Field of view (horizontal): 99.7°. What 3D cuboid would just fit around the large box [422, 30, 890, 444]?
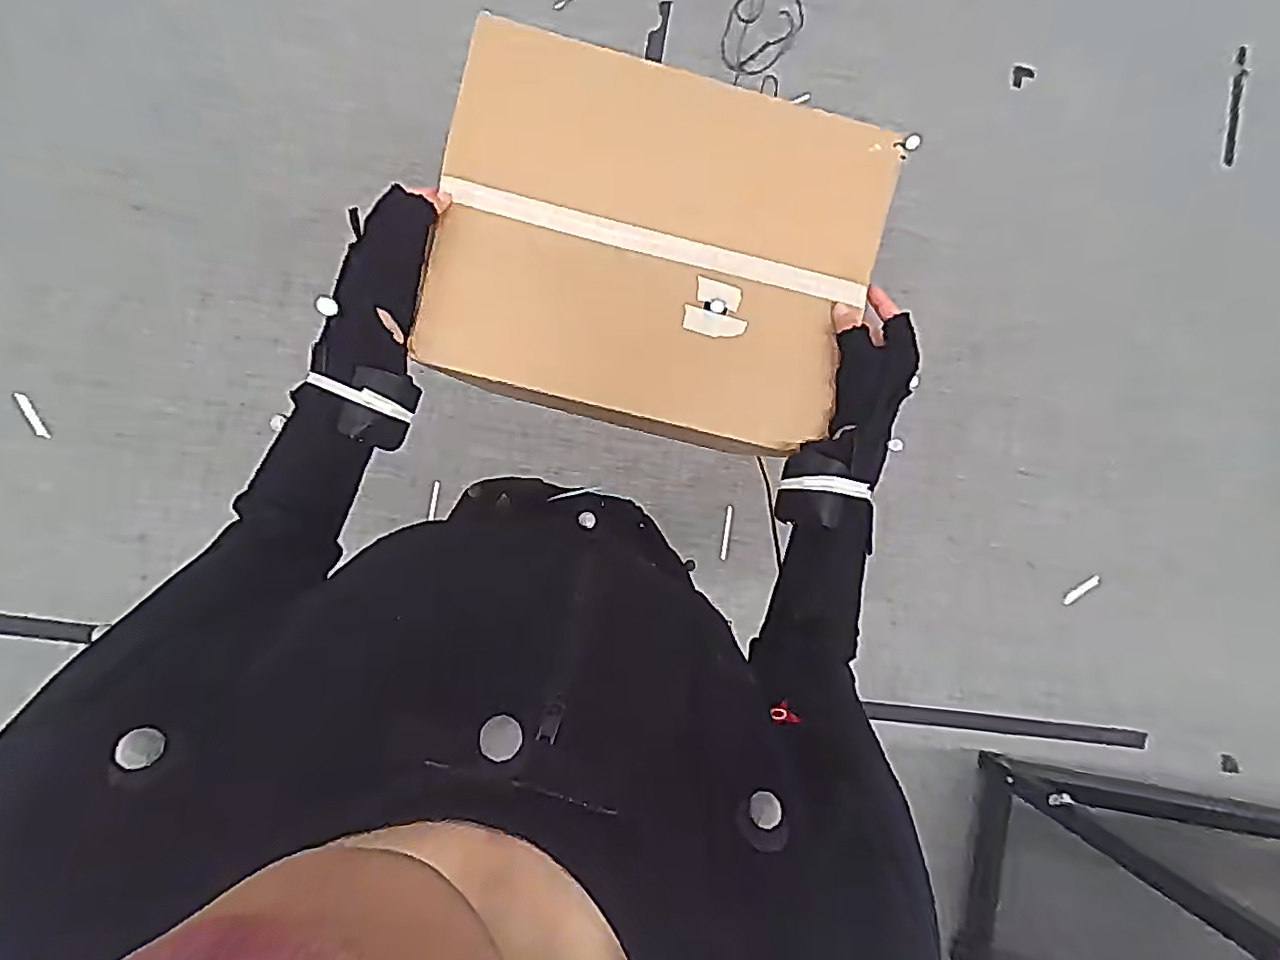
[{"bbox_3d":[0.007,-0.235,0.664,0.408,0.320,0.320,13,94,-4],"label":"large box"}]
